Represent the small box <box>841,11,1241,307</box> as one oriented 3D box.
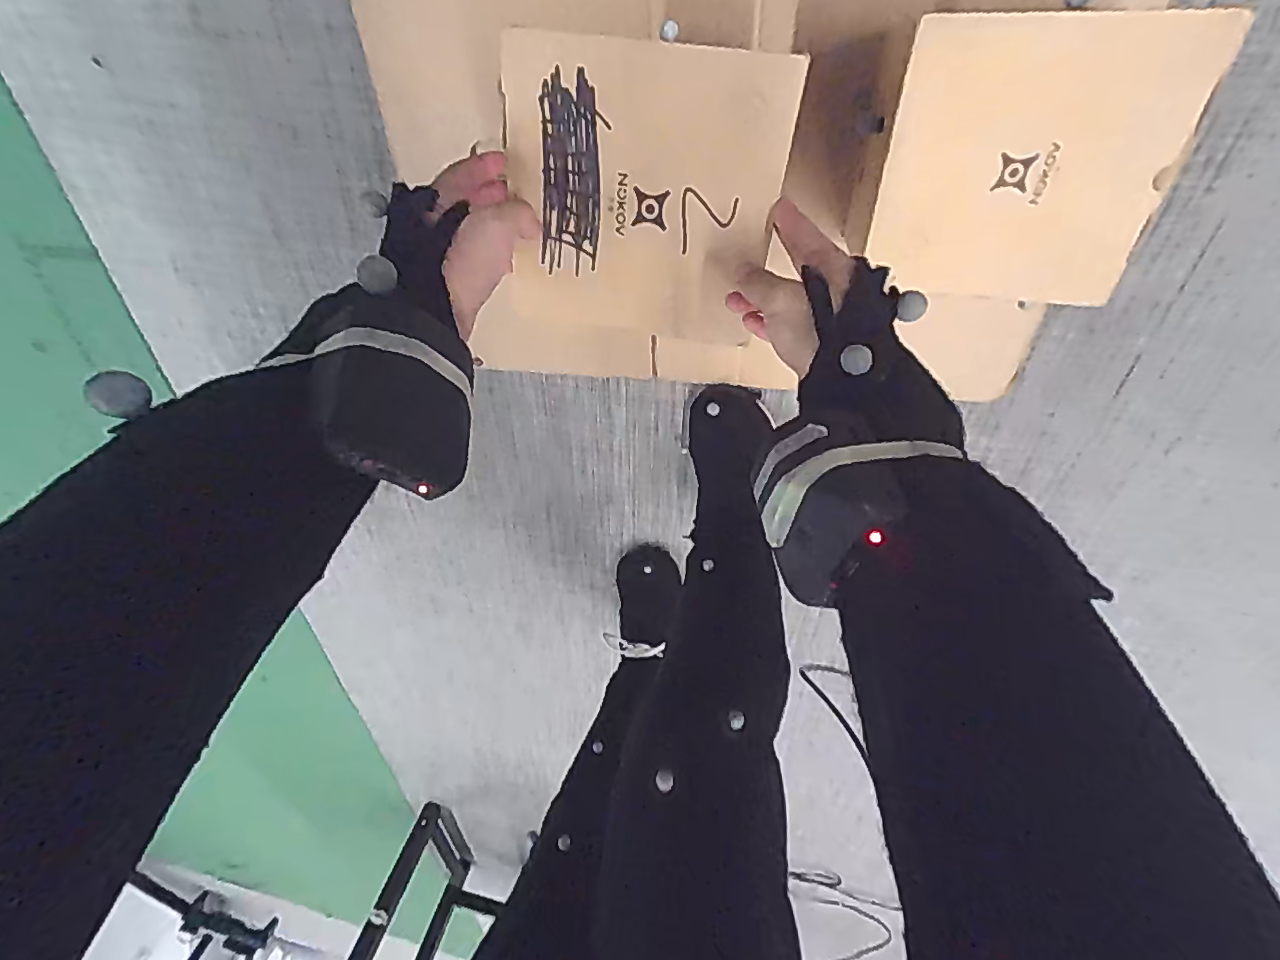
[{"bbox_3d":[0.265,-0.248,0.421,0.179,0.176,0.168,8,127,10],"label":"small box"}]
